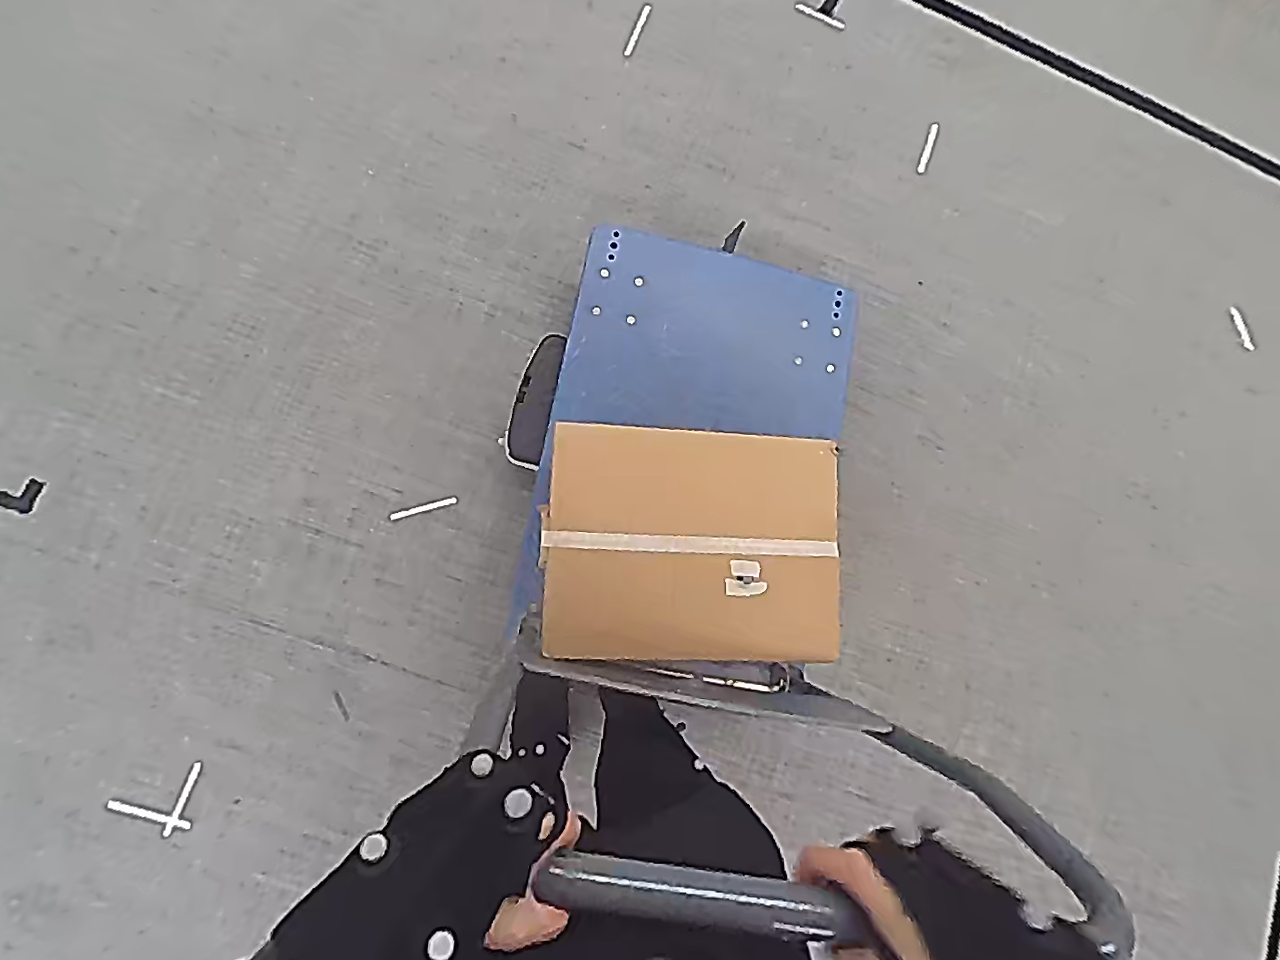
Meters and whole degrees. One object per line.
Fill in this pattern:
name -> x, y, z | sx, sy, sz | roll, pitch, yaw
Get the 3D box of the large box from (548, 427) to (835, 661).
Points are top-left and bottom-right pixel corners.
large box -> 0.056, 0.106, 0.887 | 0.408, 0.320, 0.320 | 3, 84, -8
